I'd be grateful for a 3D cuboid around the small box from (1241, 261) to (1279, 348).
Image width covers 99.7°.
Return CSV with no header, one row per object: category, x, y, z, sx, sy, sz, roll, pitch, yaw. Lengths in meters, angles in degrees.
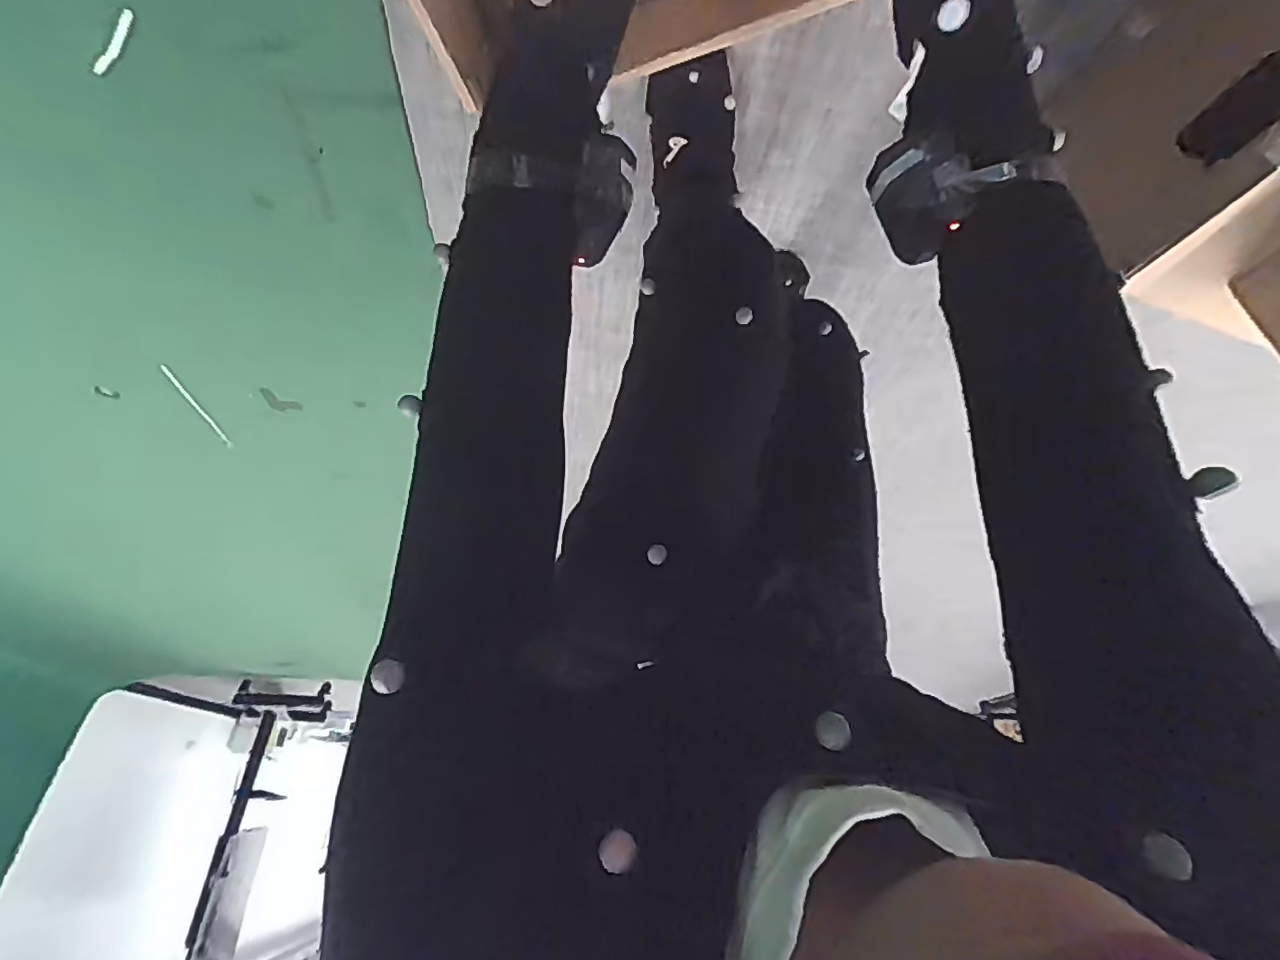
small box,0.743,-0.164,0.498,0.179,0.176,0.168,8,149,-11
